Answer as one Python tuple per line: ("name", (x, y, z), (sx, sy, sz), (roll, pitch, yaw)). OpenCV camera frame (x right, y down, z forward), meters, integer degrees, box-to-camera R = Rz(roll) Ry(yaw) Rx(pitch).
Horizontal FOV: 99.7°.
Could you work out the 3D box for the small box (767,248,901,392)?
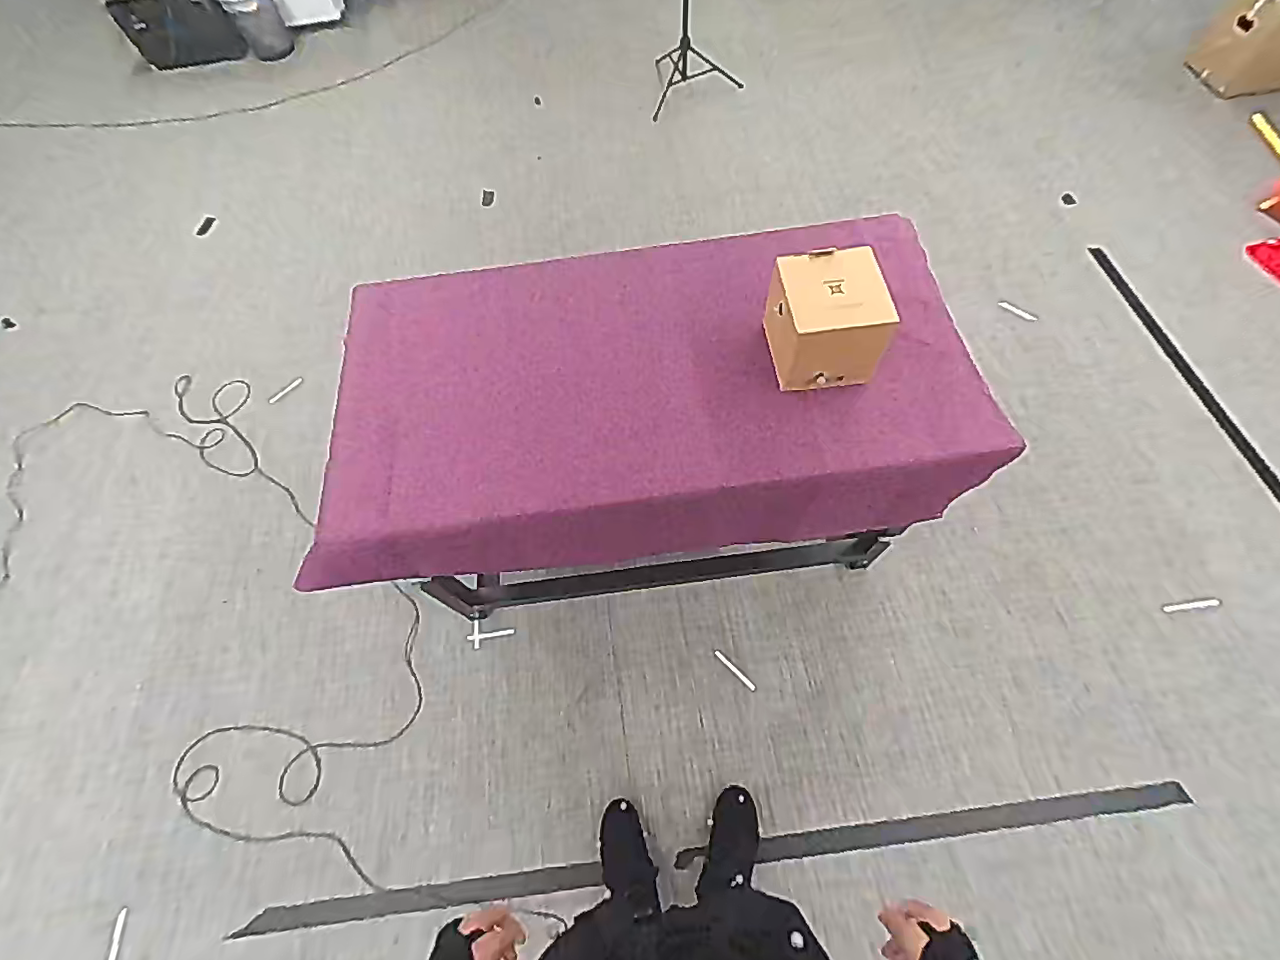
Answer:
("small box", (0.331, -0.280, 0.961), (0.168, 0.176, 0.179), (-6, 64, 2))
